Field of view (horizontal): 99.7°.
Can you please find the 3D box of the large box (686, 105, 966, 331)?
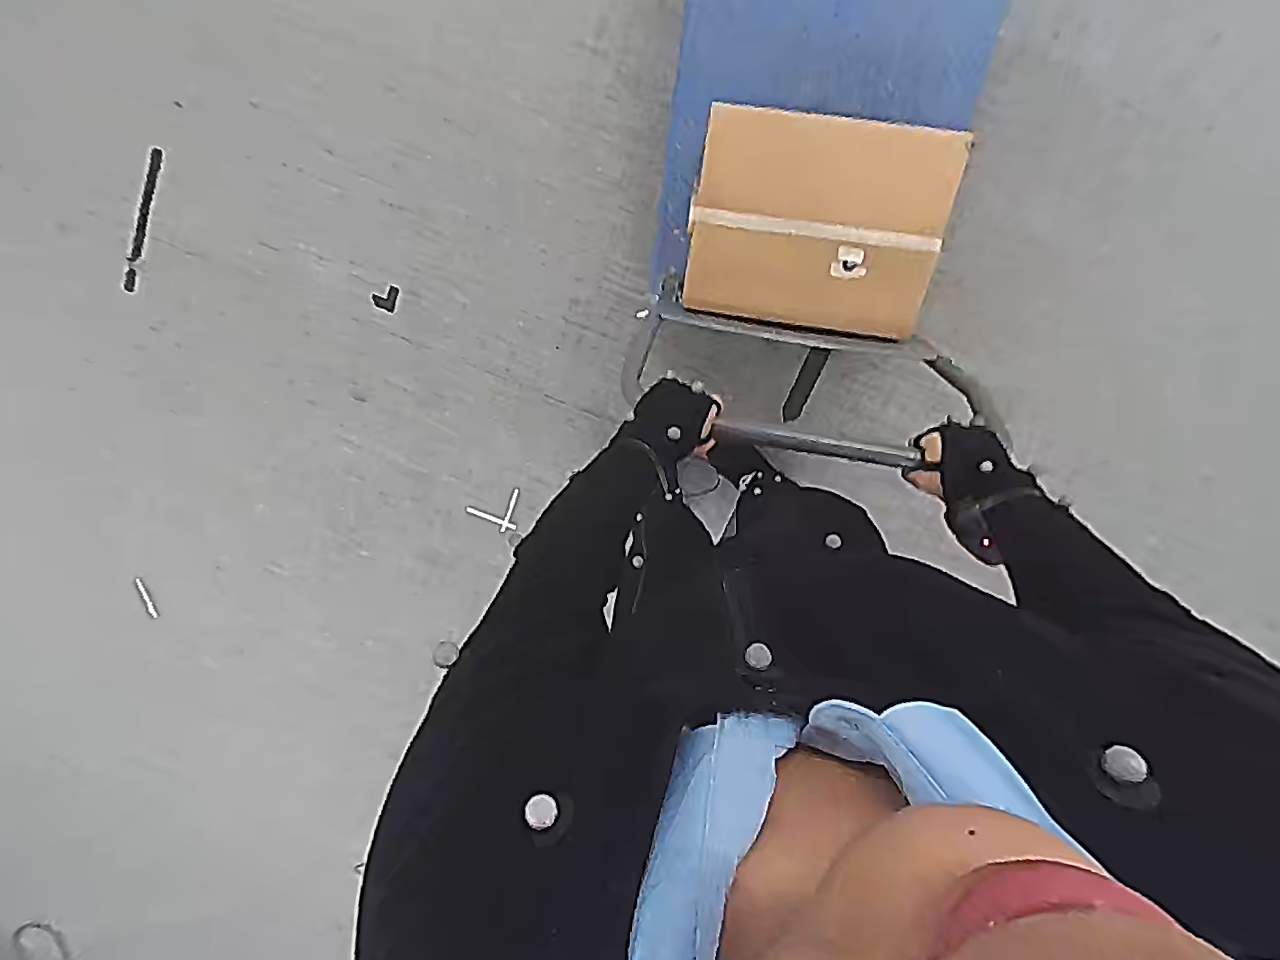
[{"bbox_3d":[0.310,-0.490,1.045,0.408,0.320,0.320,9,116,3],"label":"large box"}]
